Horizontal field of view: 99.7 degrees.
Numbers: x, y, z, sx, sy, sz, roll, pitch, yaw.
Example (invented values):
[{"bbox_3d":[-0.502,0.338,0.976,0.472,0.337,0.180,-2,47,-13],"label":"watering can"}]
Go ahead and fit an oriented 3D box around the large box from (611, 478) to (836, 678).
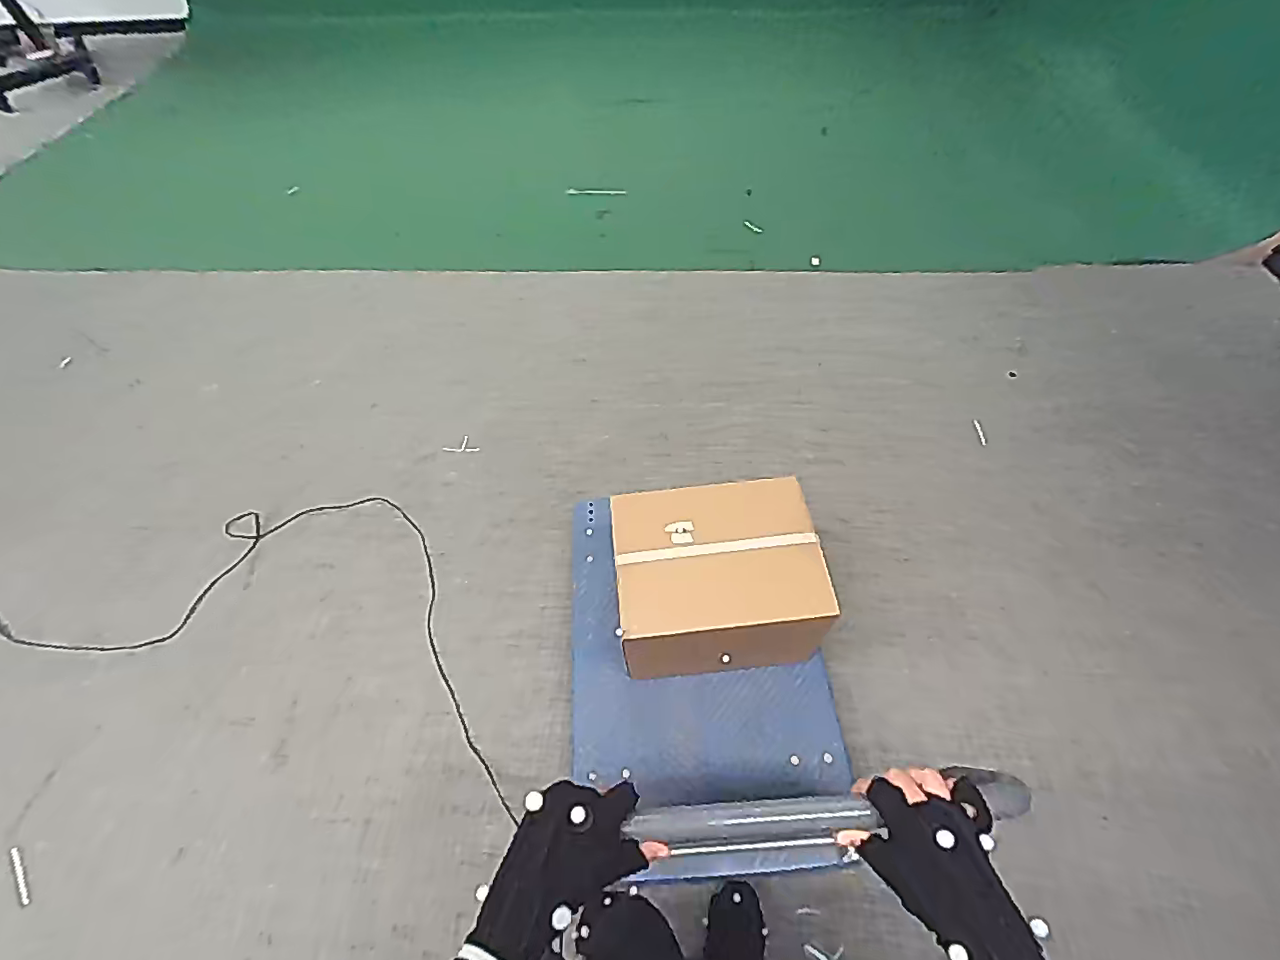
[{"bbox_3d":[0.160,0.227,1.202,0.408,0.320,0.320,-7,55,-1],"label":"large box"}]
